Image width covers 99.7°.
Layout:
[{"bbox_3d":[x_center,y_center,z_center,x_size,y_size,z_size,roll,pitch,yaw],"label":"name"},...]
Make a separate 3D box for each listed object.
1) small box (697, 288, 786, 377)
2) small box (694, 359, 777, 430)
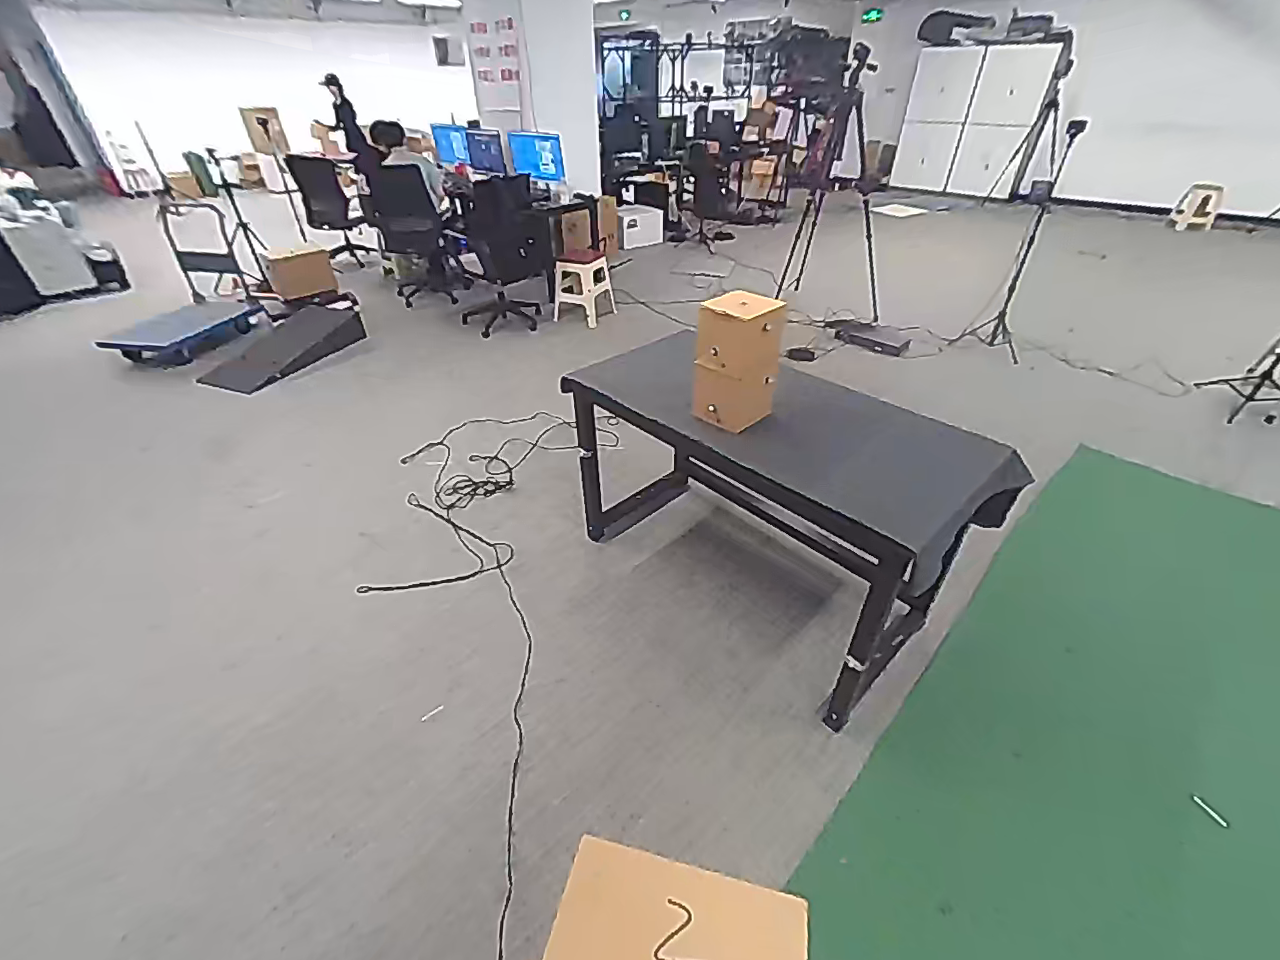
[{"bbox_3d":[0.267,-0.400,1.463,0.179,0.176,0.168,-30,46,-34],"label":"small box"},{"bbox_3d":[0.268,-0.269,1.559,0.179,0.176,0.168,-30,45,-34],"label":"small box"}]
